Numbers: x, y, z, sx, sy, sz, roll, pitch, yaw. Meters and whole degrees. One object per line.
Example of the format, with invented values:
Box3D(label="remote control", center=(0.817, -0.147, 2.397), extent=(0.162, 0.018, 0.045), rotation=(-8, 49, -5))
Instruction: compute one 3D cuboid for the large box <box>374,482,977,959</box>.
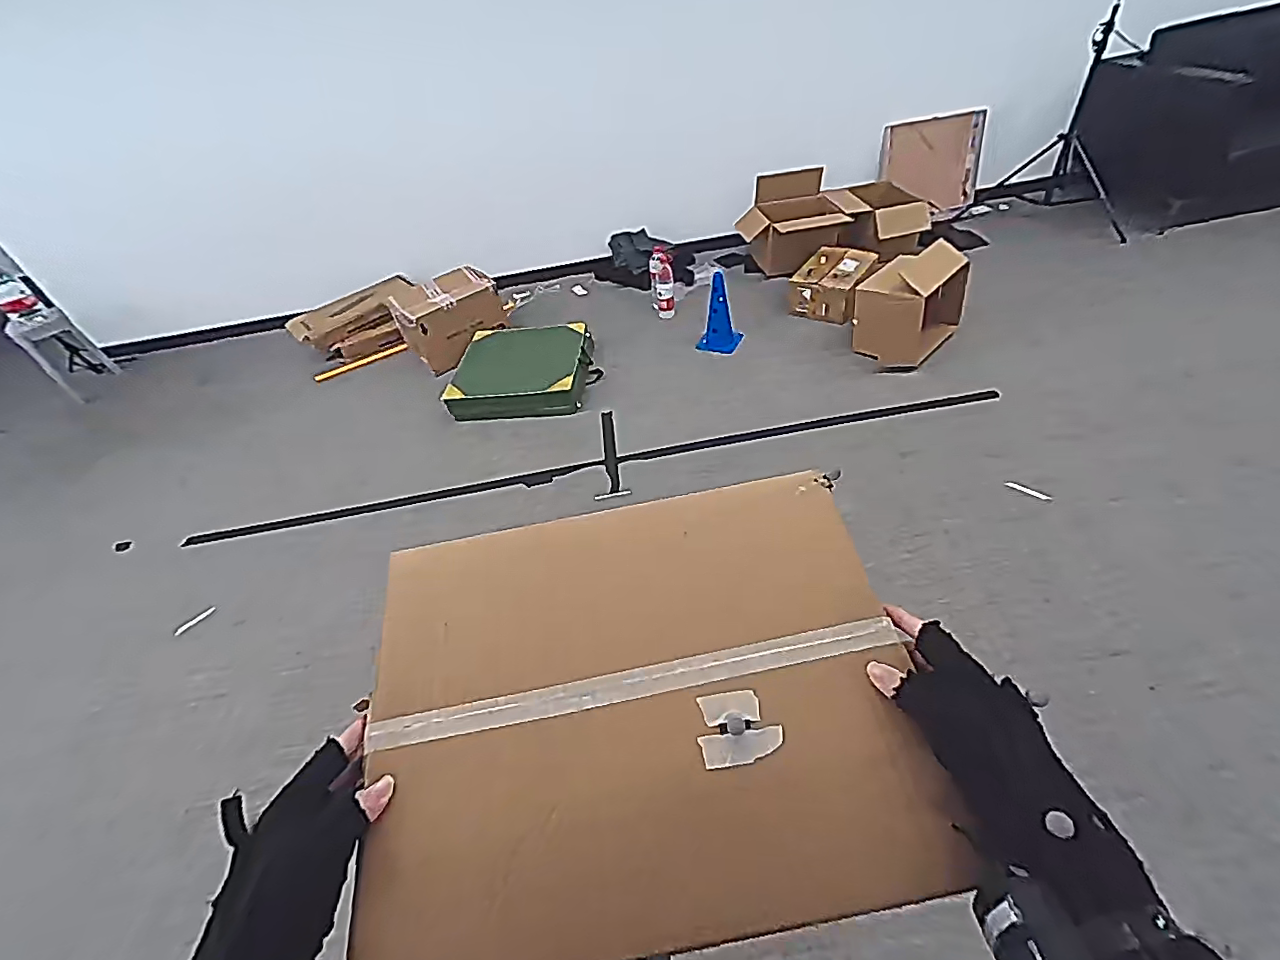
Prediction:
Box3D(label="large box", center=(0.013, 0.247, 0.548), extent=(0.408, 0.320, 0.320), rotation=(-11, 56, -1))
